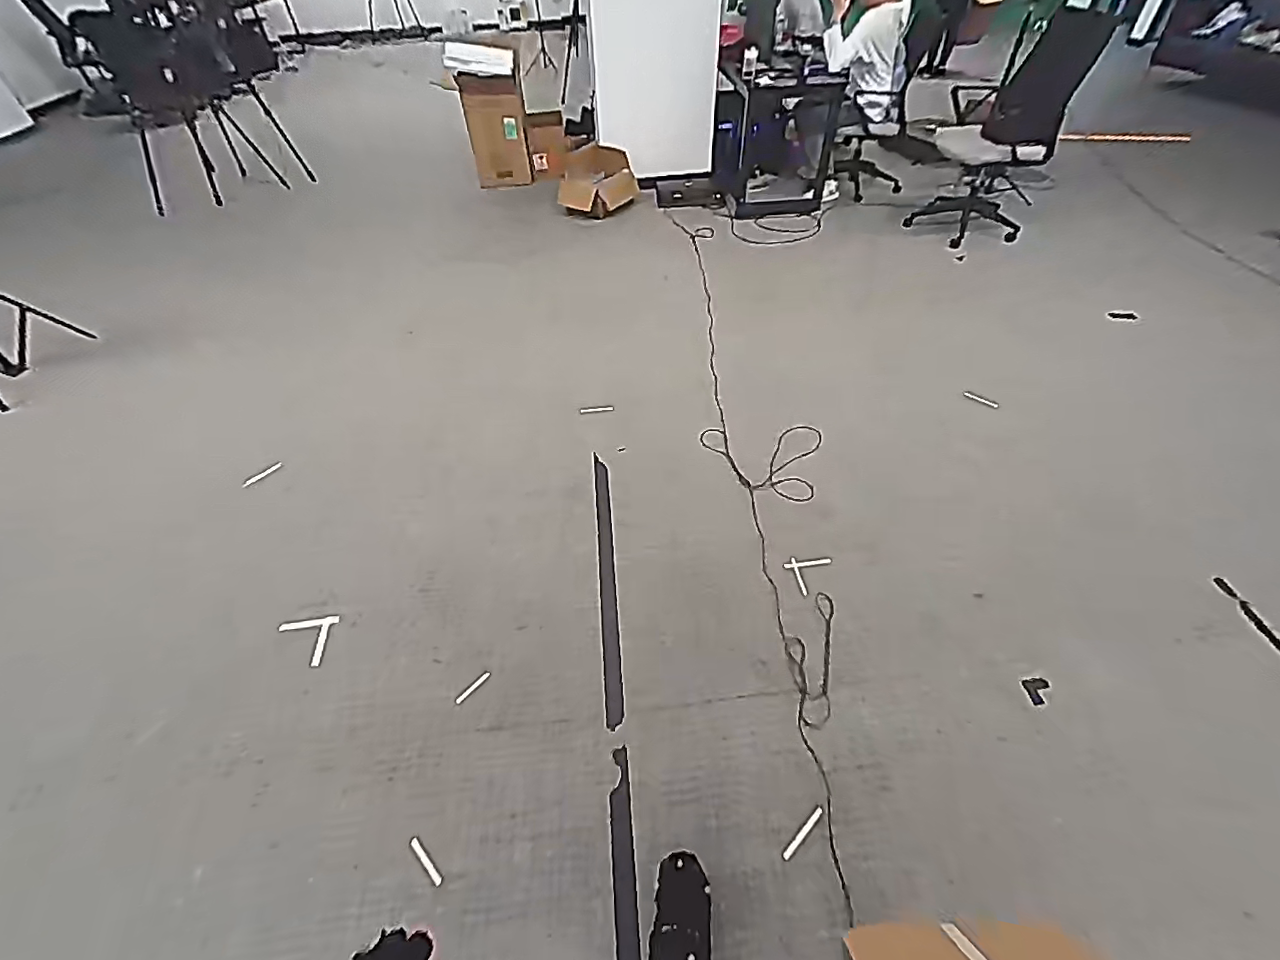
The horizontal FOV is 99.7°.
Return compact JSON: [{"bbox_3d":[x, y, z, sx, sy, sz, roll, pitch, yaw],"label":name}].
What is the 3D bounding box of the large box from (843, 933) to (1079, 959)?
[{"bbox_3d":[0.450,0.770,0.568,0.320,0.408,0.320,-3,76,1],"label":"large box"}]
